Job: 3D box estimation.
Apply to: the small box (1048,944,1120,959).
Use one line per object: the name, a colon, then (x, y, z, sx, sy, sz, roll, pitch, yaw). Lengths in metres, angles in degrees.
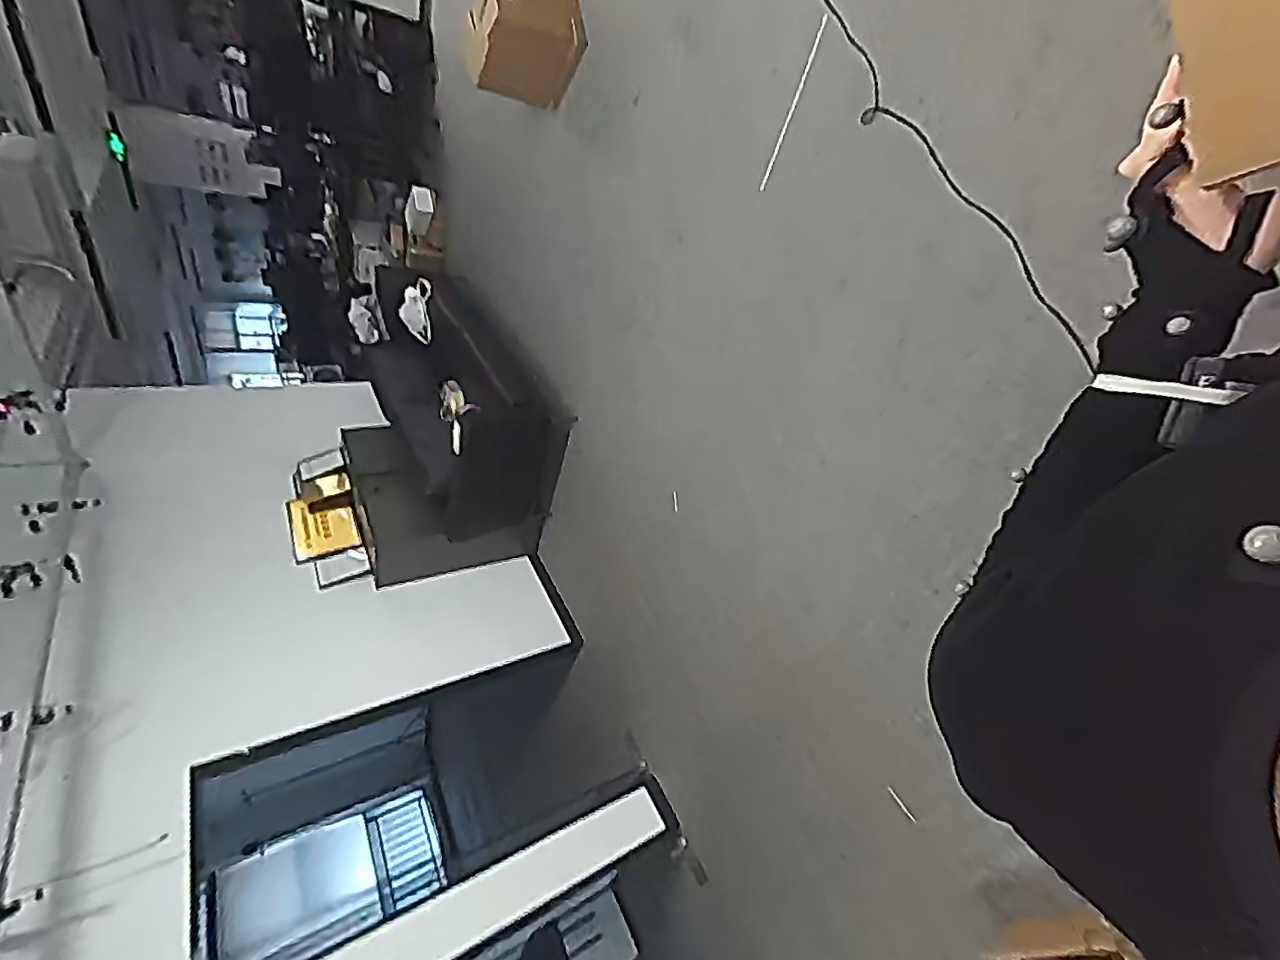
small box: (1.048, 1.214, 1.242, 0.168, 0.176, 0.179, 56, 137, 32)
